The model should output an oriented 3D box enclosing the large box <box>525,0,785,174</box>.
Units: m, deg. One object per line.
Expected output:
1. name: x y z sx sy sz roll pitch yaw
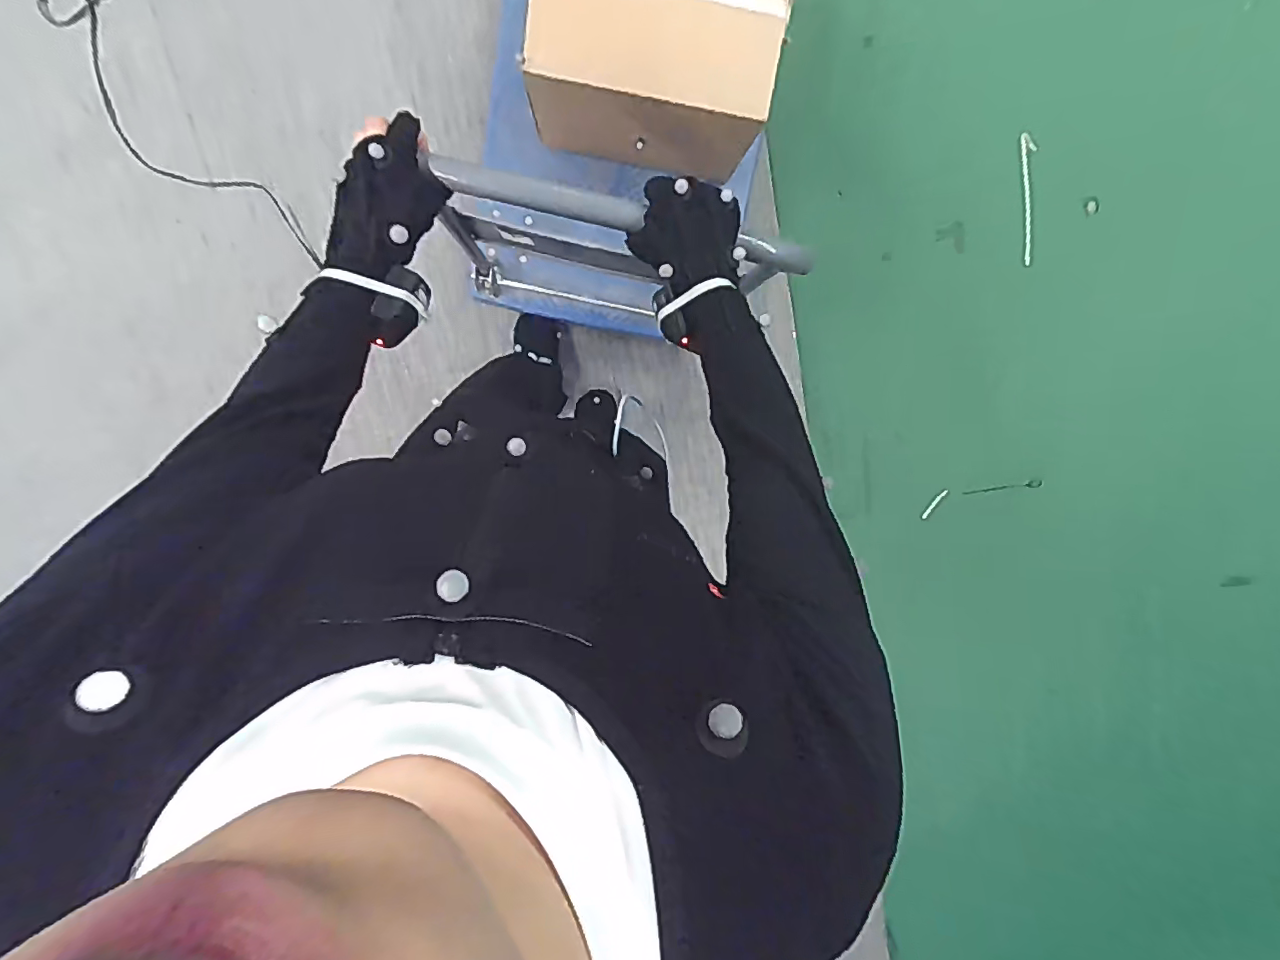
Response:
1. large box: 0.026 -0.803 0.989 0.408 0.320 0.320 8 101 -5
